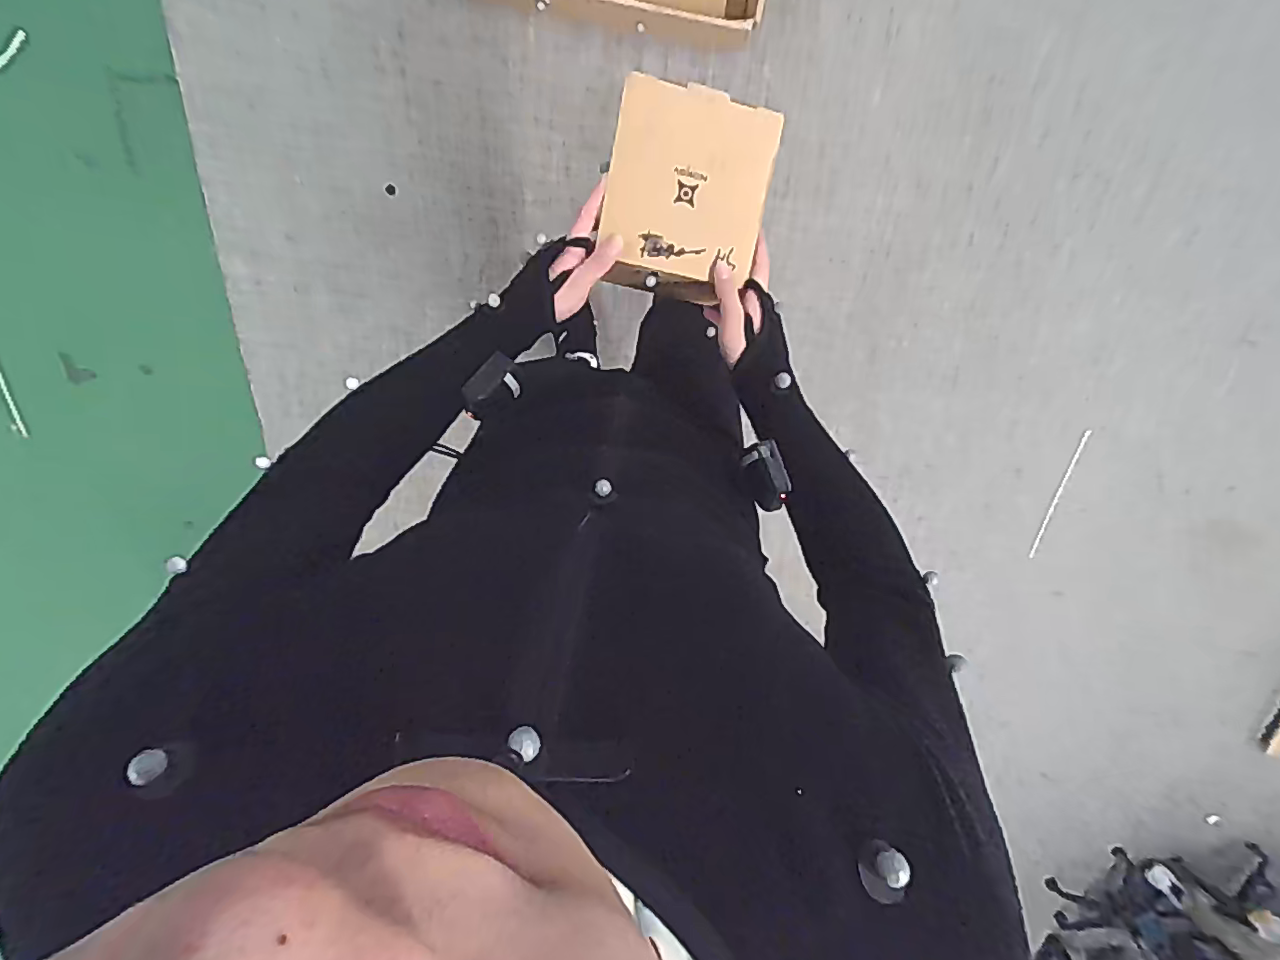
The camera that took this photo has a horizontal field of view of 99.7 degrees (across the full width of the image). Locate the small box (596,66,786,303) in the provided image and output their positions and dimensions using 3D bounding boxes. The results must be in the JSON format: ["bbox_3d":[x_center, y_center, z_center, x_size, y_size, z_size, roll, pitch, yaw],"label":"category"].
[{"bbox_3d":[0.044,-0.318,0.623,0.168,0.176,0.179,11,100,-7],"label":"small box"}]
